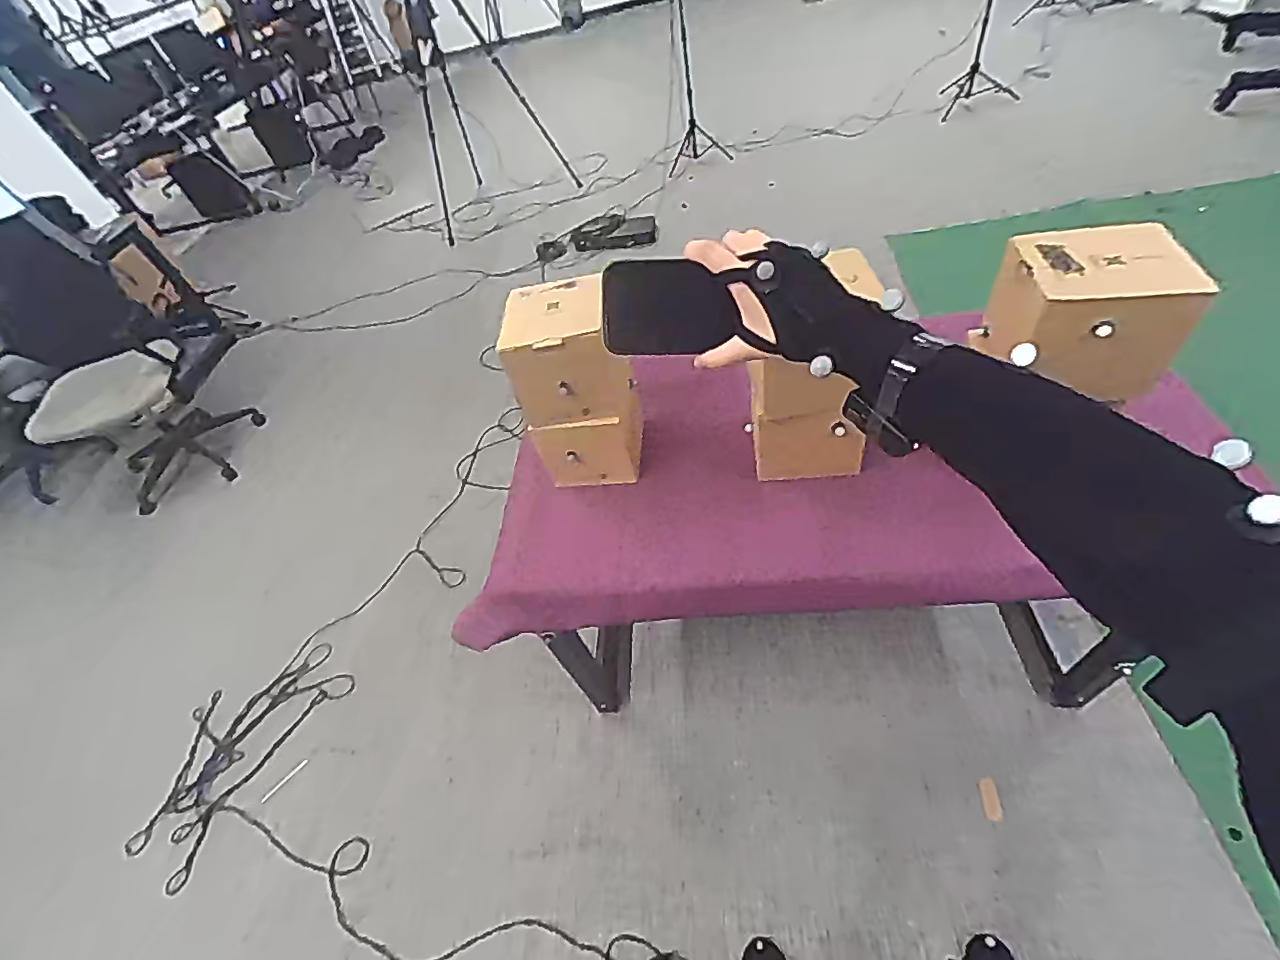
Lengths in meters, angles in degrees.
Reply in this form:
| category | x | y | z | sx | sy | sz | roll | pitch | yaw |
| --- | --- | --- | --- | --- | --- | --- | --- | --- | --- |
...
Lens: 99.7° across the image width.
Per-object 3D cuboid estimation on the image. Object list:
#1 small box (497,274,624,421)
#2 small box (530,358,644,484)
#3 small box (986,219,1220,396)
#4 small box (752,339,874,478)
| category | x | y | z | sx | sy | sz | roll | pitch | yaw |
| --- | --- | --- | --- | --- | --- | --- | --- | --- | --- |
| small box | -0.122 | -0.215 | 0.914 | 0.168 | 0.176 | 0.179 | -8 | 49 | 8 |
| small box | -0.090 | -0.104 | 1.031 | 0.168 | 0.176 | 0.179 | -4 | 49 | 11 |
| small box | 0.598 | -0.227 | 0.736 | 0.179 | 0.176 | 0.168 | 0 | 50 | 14 |
| small box | 0.290 | -0.119 | 0.942 | 0.179 | 0.176 | 0.168 | -5 | 49 | 11 |
